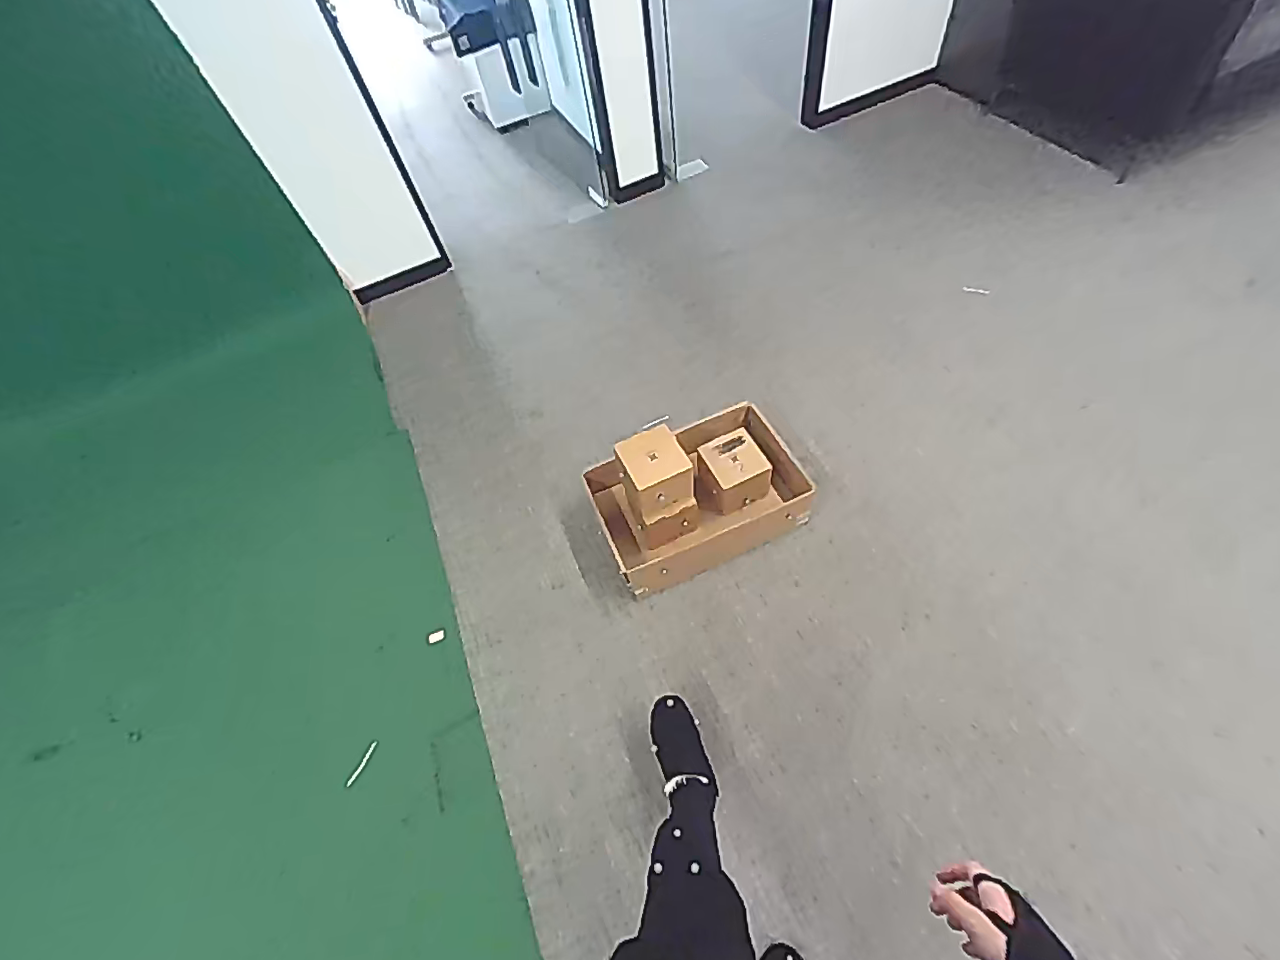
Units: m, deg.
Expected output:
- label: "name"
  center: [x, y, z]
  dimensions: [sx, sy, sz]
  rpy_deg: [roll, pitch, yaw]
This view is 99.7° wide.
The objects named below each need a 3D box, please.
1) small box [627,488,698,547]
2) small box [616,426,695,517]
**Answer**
- label: "small box"
  center: [0.073, 0.084, 1.666]
  dimensions: [0.168, 0.176, 0.179]
  rpy_deg: [-23, 56, -9]
- label: "small box"
  center: [0.048, -0.016, 1.541]
  dimensions: [0.168, 0.176, 0.179]
  rpy_deg: [-24, 56, -9]
